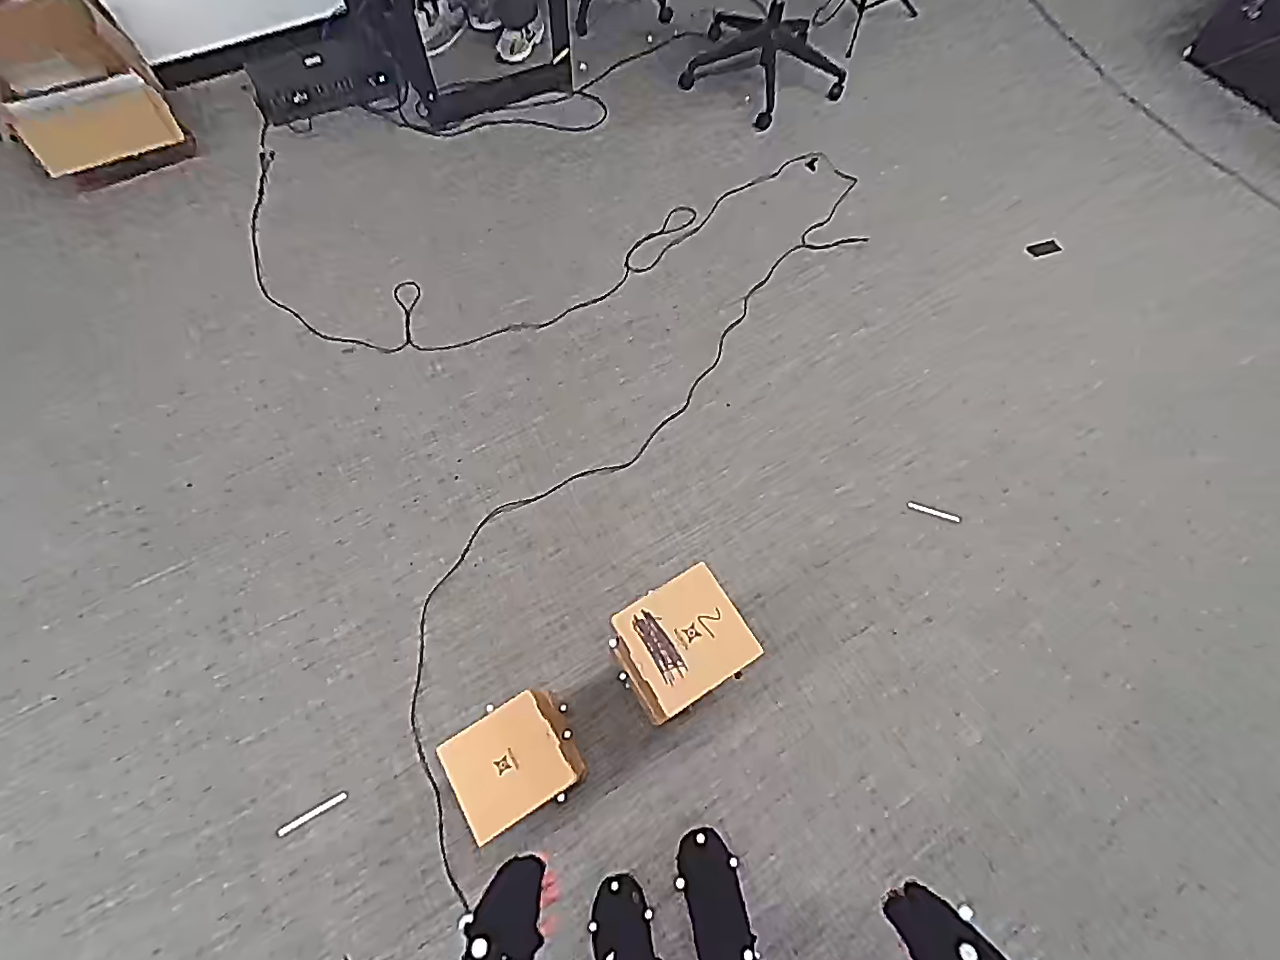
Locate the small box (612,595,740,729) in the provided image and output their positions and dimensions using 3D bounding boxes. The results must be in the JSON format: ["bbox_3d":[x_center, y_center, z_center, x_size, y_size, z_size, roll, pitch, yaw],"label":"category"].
[{"bbox_3d":[0.058,0.345,1.024,0.179,0.176,0.168,-30,70,-15],"label":"small box"}]

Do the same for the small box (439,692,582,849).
[{"bbox_3d":[-0.217,0.499,0.949,0.179,0.176,0.168,-30,71,-14],"label":"small box"}]

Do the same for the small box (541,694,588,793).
[{"bbox_3d":[-0.216,0.559,1.099,0.168,0.176,0.179,-26,71,-12],"label":"small box"}]
